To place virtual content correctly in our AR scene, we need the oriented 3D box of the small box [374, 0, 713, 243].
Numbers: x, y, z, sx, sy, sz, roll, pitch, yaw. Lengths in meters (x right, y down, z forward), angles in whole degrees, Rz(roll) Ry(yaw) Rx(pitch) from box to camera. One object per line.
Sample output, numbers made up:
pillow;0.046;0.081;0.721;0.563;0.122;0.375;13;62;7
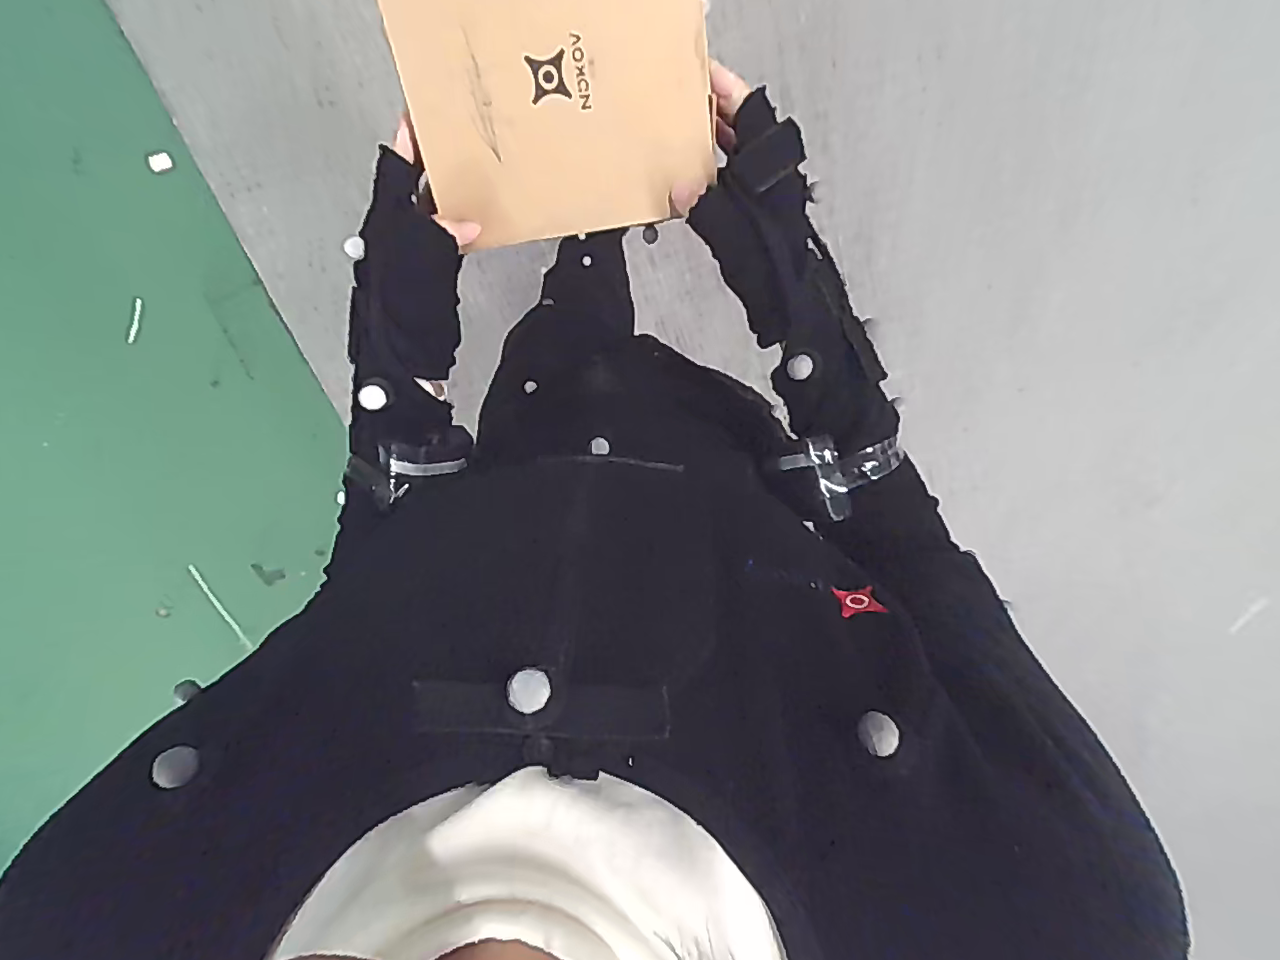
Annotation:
small box;-0.052;-0.272;0.377;0.179;0.176;0.168;-8;115;5
